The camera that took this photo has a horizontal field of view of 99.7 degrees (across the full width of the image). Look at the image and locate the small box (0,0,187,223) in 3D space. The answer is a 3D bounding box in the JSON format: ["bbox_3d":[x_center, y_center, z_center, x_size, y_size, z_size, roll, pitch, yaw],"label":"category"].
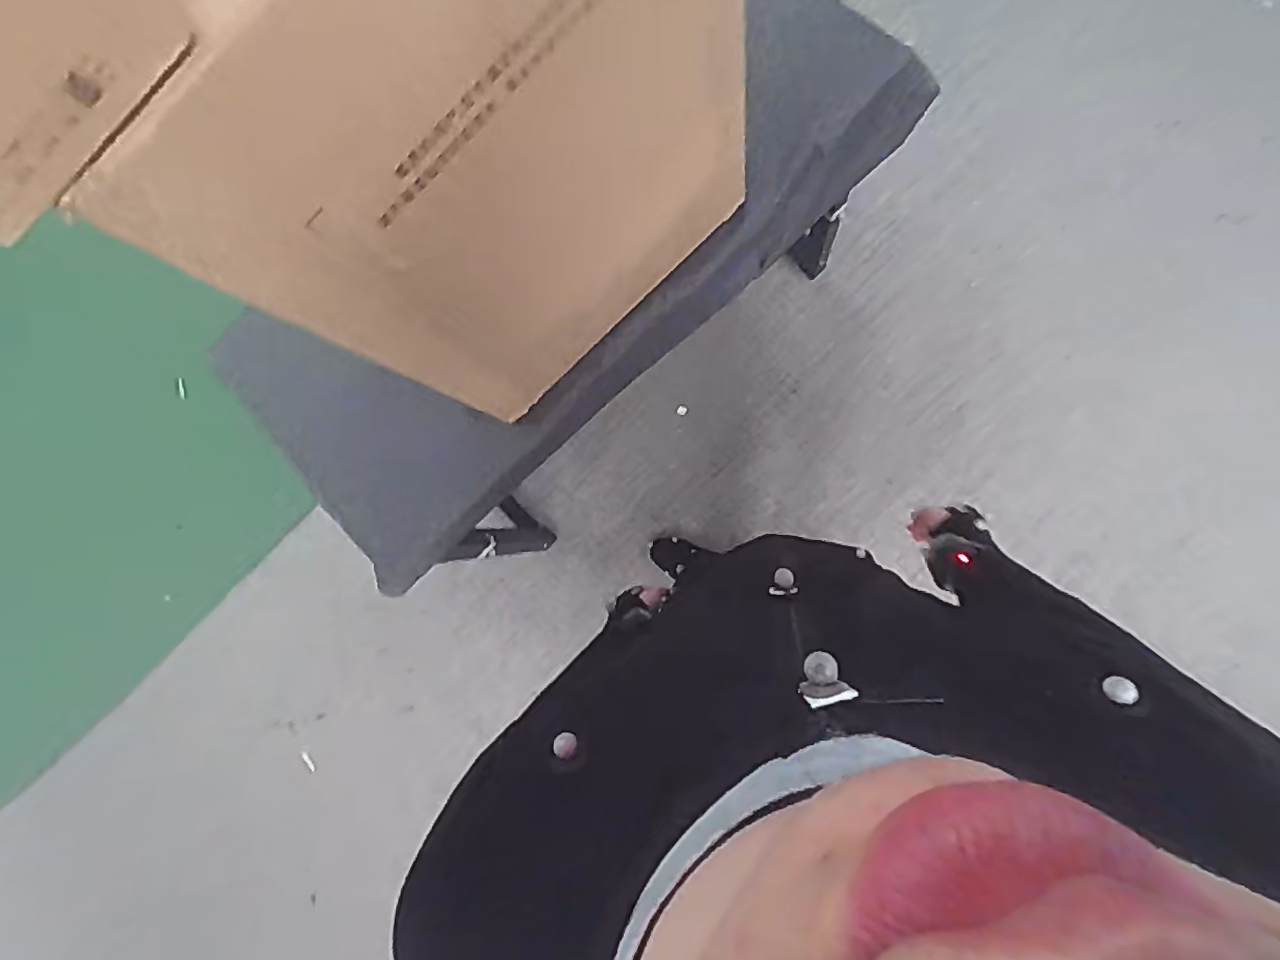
[{"bbox_3d":[-0.366,-0.257,0.236,0.168,0.176,0.179,-42,79,7],"label":"small box"}]
